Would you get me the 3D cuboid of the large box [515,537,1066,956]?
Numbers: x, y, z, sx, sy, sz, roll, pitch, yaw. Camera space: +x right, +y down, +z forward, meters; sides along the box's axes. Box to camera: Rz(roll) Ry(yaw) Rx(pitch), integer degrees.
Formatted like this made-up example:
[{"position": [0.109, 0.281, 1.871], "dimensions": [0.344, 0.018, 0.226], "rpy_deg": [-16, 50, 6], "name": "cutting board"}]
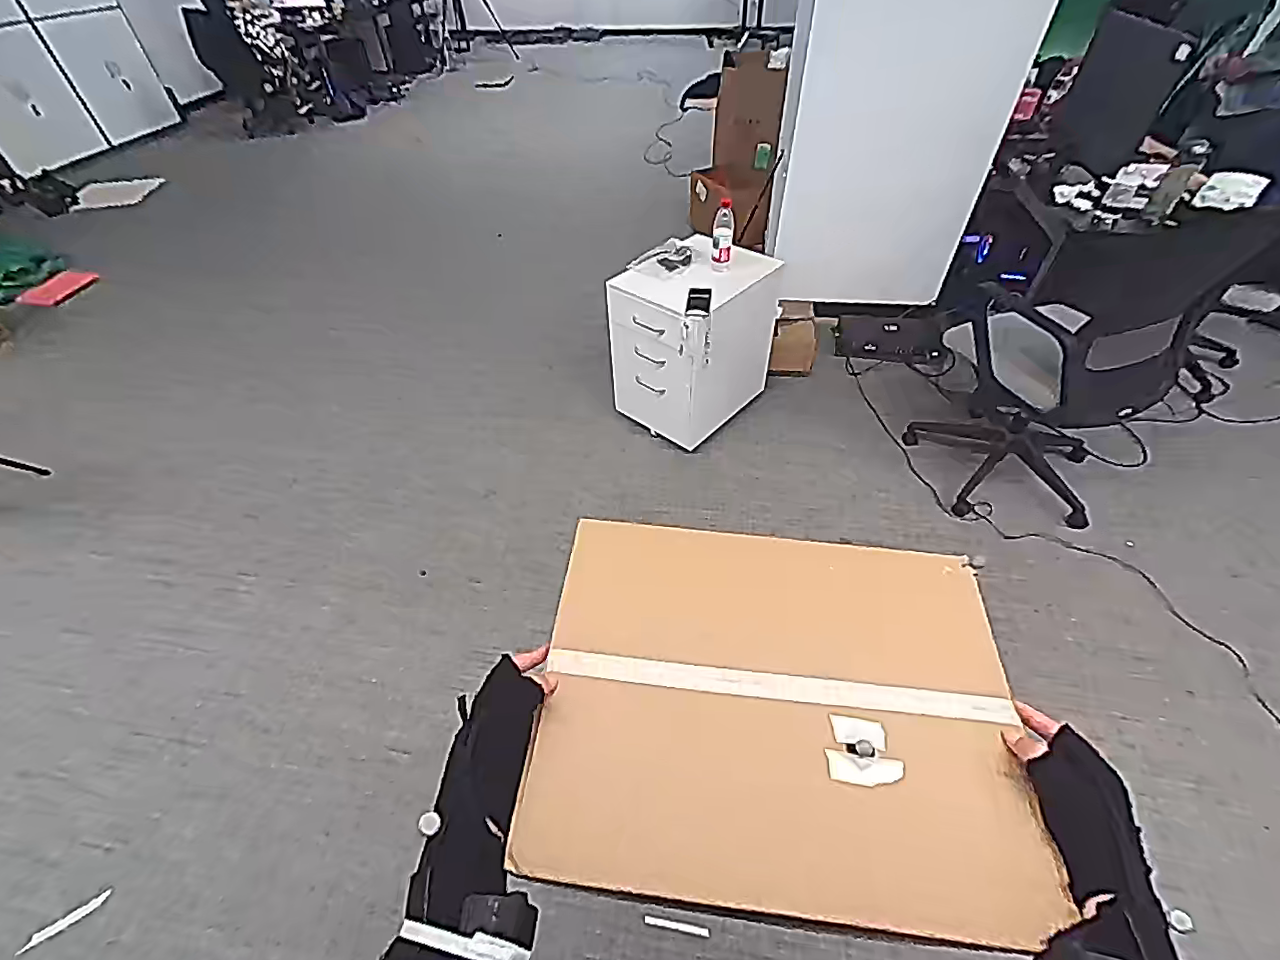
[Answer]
[{"position": [0.115, 0.288, 0.594], "dimensions": [0.408, 0.320, 0.320], "rpy_deg": [6, 52, 4], "name": "large box"}]
